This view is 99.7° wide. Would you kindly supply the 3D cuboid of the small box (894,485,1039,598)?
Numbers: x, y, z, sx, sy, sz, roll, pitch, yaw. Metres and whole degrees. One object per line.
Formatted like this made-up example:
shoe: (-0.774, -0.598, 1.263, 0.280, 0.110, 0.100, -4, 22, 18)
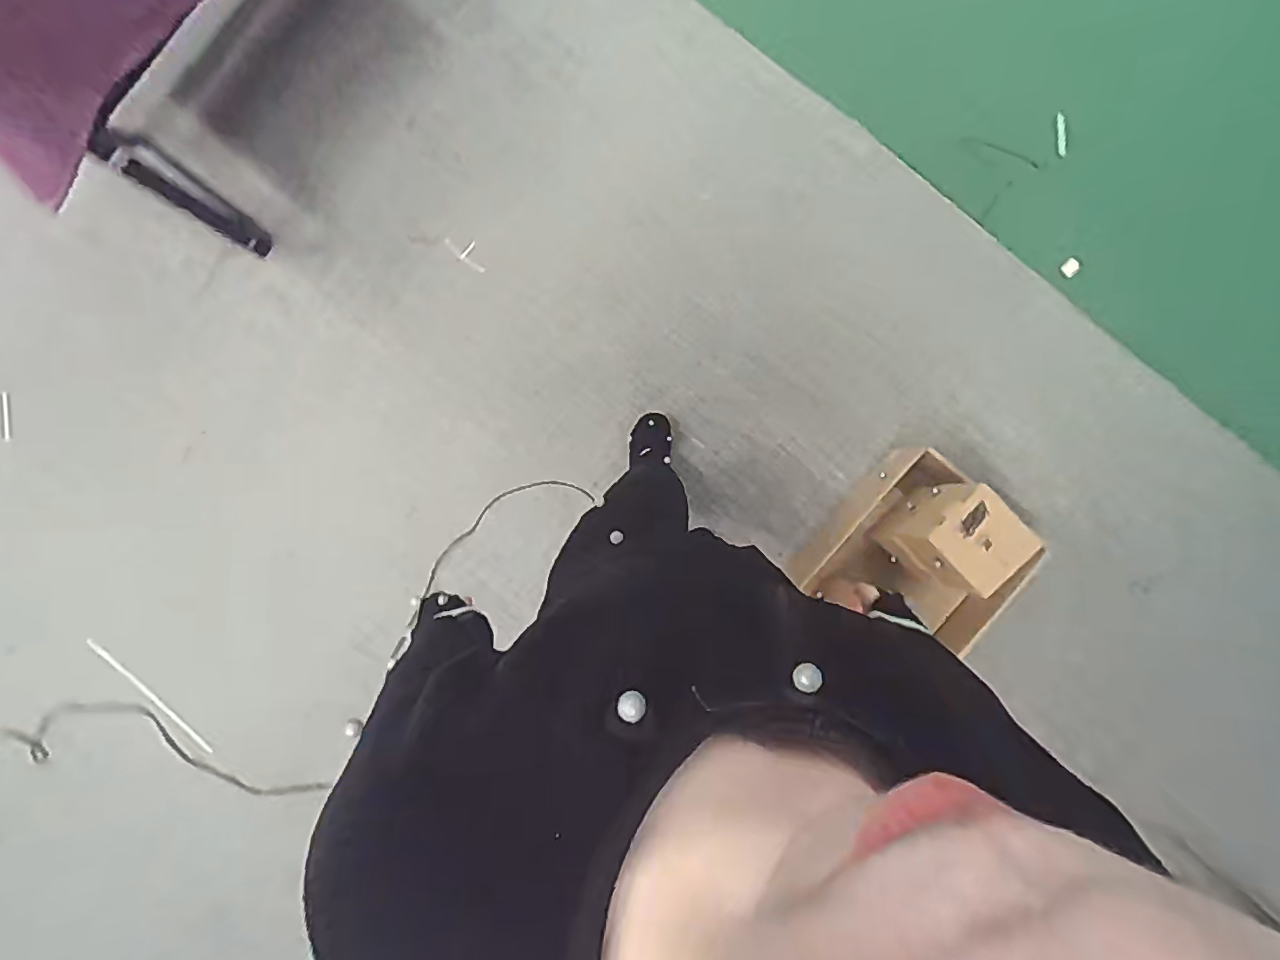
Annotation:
small box: (0.701, 0.130, 1.186, 0.168, 0.176, 0.179, -43, 88, 1)
